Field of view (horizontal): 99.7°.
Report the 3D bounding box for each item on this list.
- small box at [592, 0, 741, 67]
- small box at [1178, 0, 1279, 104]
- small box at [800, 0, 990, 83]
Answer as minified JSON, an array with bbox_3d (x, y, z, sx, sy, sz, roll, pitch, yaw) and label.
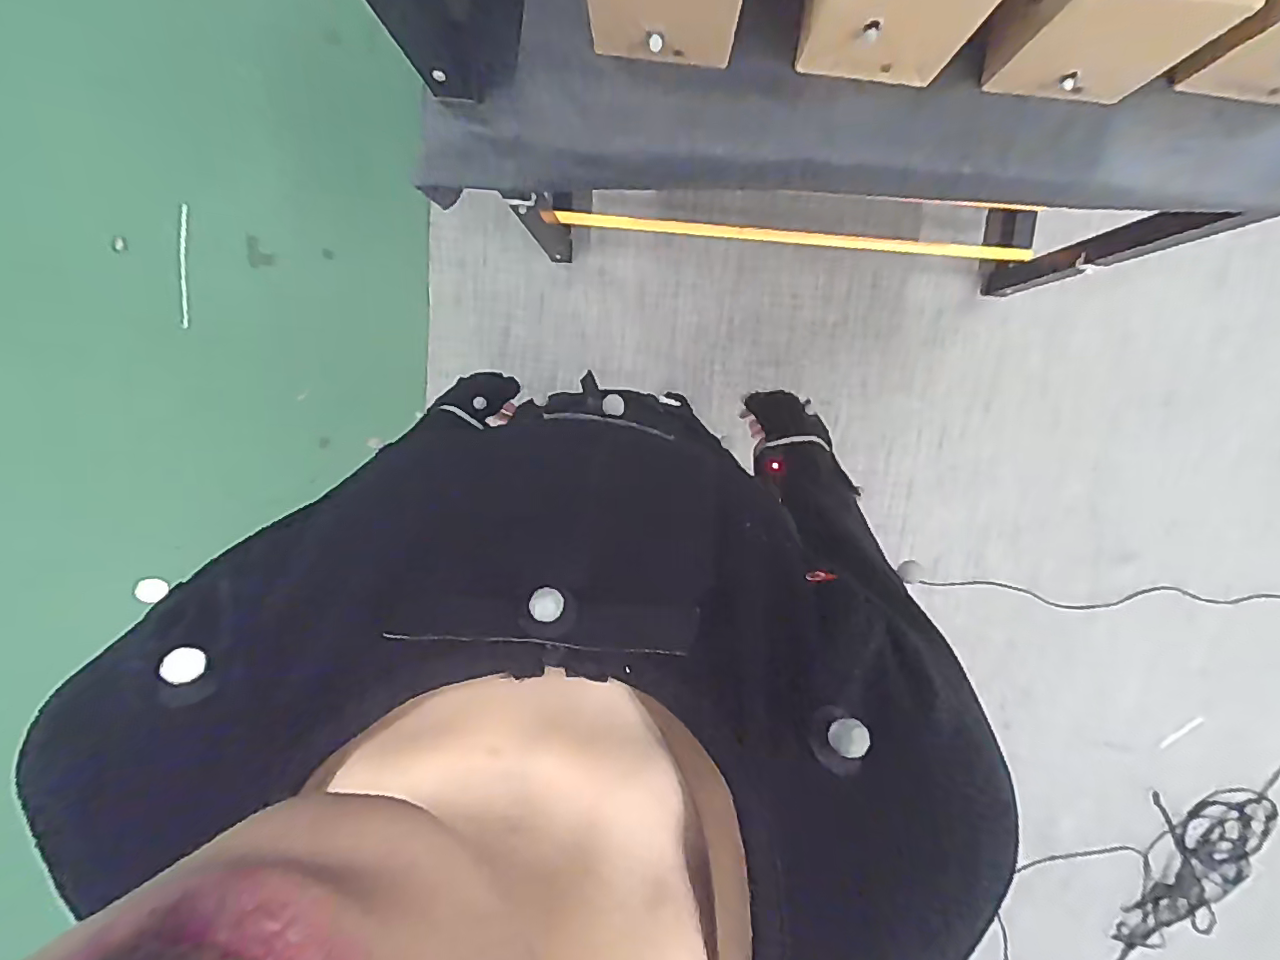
[{"bbox_3d":[0.035,-0.592,0.574,0.168,0.176,0.179,8,99,0],"label":"small box"},{"bbox_3d":[0.731,-0.531,0.563,0.168,0.176,0.179,9,98,0],"label":"small box"},{"bbox_3d":[0.280,-0.564,0.573,0.168,0.176,0.179,8,98,0],"label":"small box"}]
